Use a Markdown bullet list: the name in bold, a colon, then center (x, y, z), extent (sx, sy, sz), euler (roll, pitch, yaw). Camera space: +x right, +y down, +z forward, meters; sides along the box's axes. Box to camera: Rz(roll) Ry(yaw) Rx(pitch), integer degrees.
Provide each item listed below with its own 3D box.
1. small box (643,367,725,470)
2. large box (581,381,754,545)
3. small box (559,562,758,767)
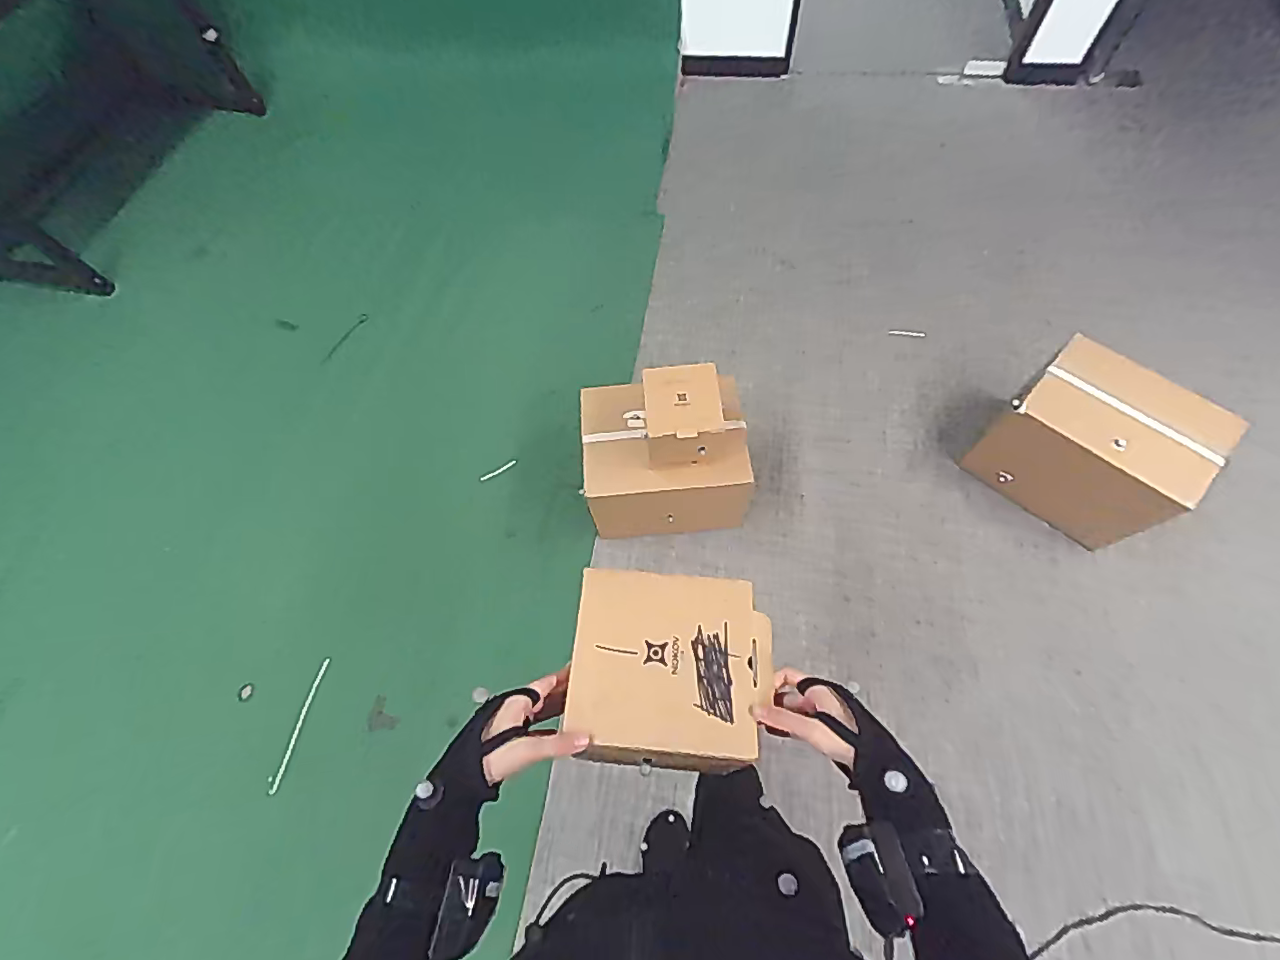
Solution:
- **small box**: center (0.098, -0.133, 1.236), extent (0.168, 0.176, 0.179), euler (-5, 65, 1)
- **large box**: center (0.070, -0.033, 1.464), extent (0.408, 0.320, 0.320), euler (-6, 63, 2)
- **small box**: center (0.020, 0.202, 0.576), extent (0.179, 0.176, 0.168), euler (5, 57, 1)
